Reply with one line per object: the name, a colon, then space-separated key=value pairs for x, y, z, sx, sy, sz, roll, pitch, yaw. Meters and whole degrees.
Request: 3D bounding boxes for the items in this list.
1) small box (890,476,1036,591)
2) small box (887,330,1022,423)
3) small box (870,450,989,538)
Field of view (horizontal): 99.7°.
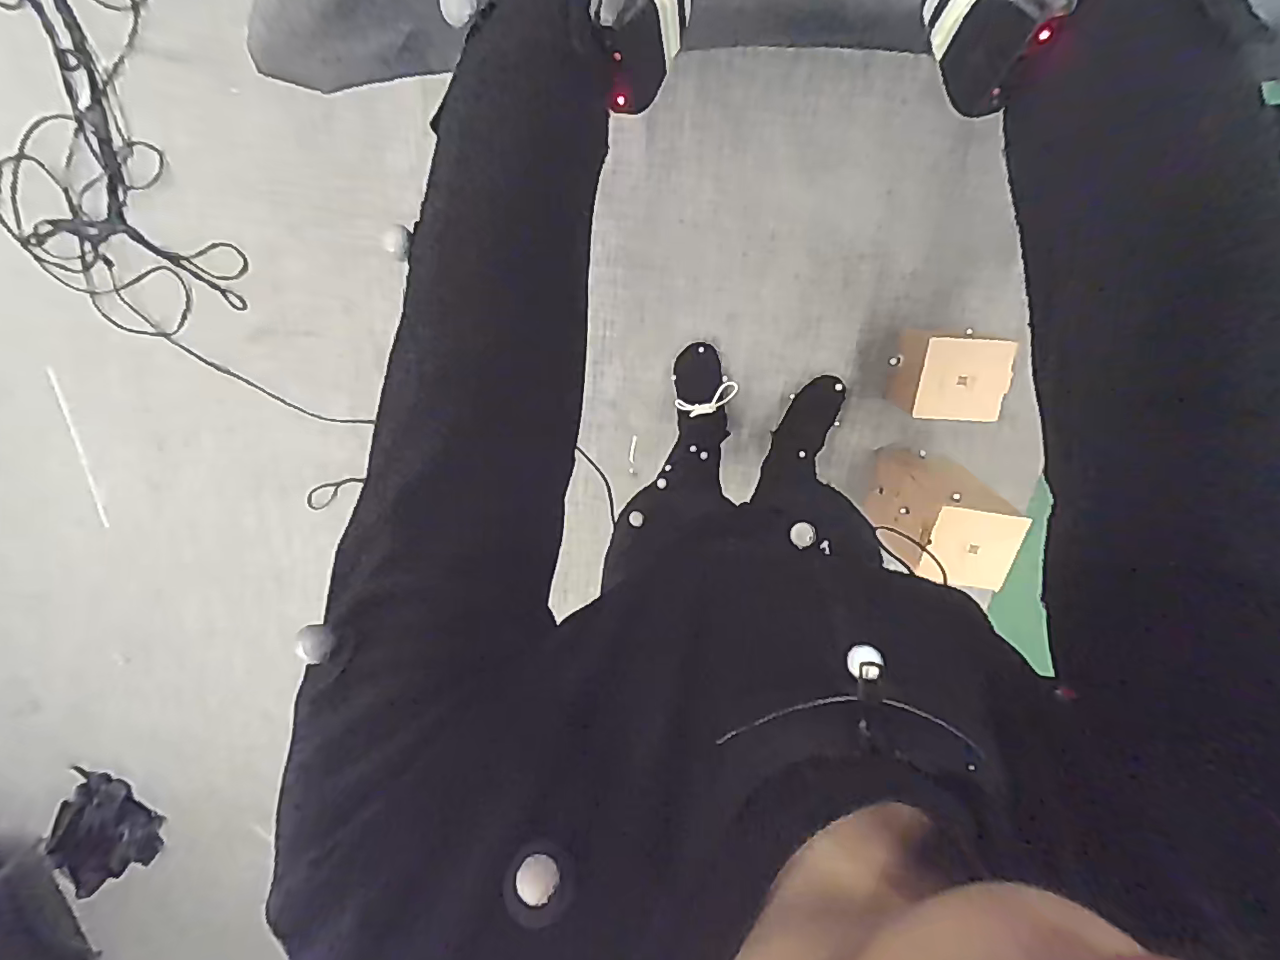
small box: x=0.646 y=0.103 z=1.107 sx=0.179 sy=0.176 sz=0.168 roll=8 pitch=113 yaw=1
small box: x=0.656 y=-0.226 z=1.150 sx=0.179 sy=0.176 sz=0.168 roll=3 pitch=111 yaw=4
small box: x=0.658 y=0.039 z=1.256 sx=0.179 sy=0.176 sz=0.168 roll=8 pitch=113 yaw=3
